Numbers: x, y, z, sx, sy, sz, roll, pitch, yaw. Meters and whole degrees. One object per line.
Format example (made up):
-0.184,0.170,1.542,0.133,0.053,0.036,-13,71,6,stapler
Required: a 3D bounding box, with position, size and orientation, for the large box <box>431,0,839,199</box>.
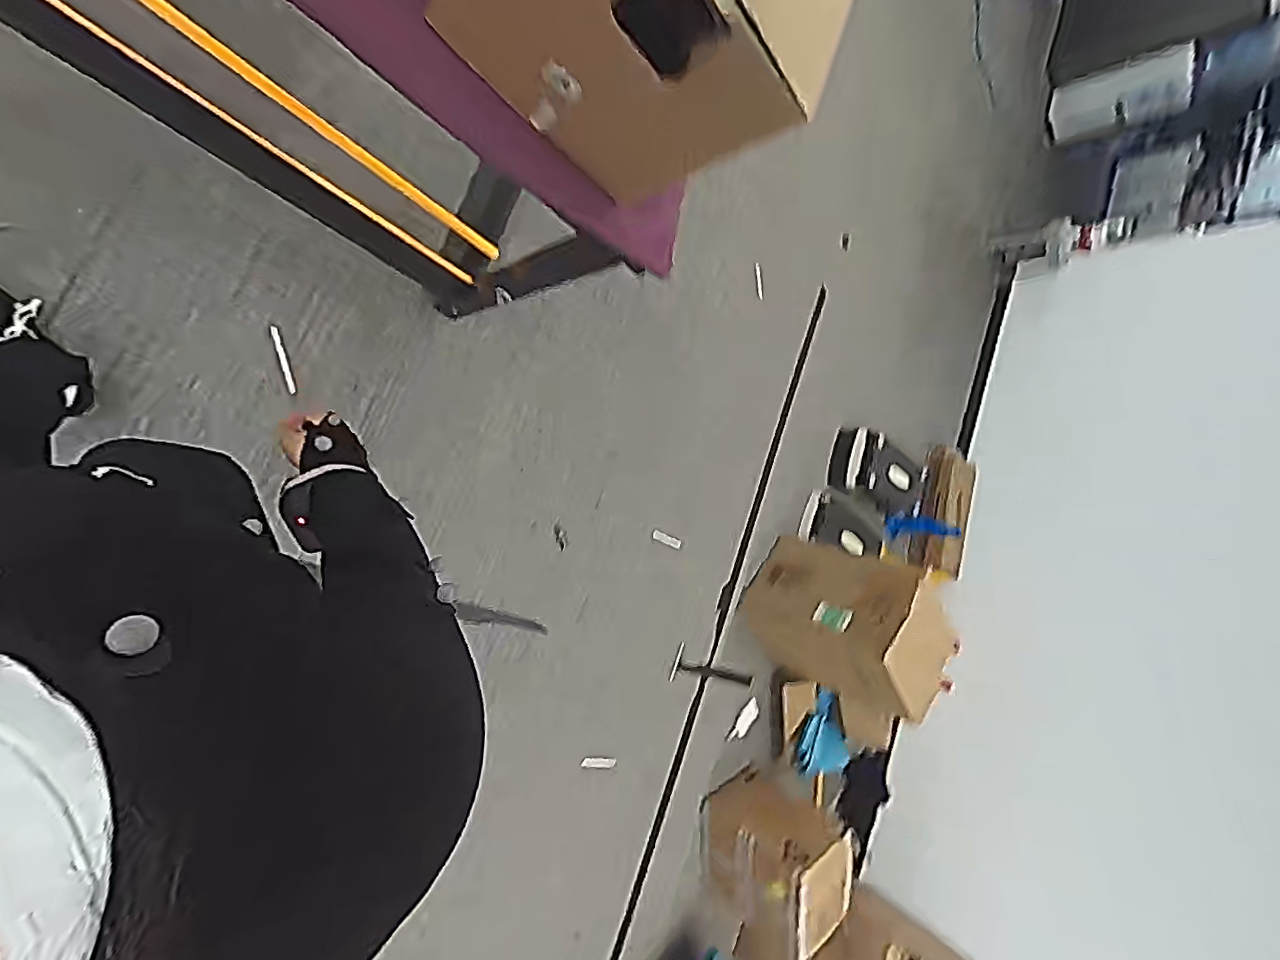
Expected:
0.025,-0.621,0.603,0.320,0.320,0.408,27,77,-41,large box
